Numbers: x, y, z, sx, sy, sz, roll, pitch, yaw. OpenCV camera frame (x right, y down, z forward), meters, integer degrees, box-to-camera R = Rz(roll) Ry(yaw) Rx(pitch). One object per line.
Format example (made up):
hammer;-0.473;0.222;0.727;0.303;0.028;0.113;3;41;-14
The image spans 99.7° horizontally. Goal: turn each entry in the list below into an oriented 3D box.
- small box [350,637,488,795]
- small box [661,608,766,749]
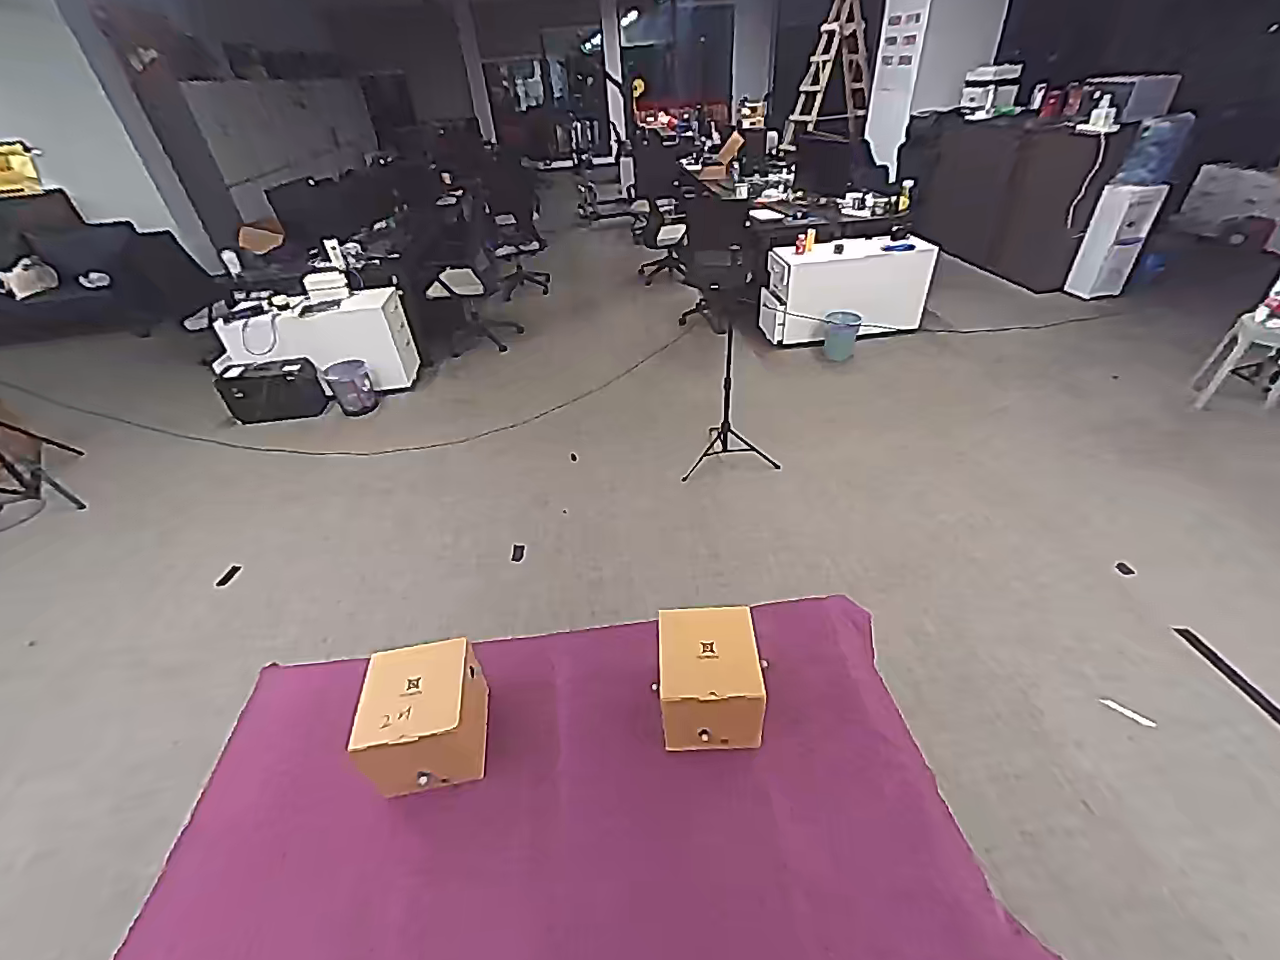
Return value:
small box;-0.364;0.403;0.929;0.168;0.176;0.179;-9;37;-5
small box;0.121;0.348;0.953;0.168;0.176;0.179;-3;38;3
